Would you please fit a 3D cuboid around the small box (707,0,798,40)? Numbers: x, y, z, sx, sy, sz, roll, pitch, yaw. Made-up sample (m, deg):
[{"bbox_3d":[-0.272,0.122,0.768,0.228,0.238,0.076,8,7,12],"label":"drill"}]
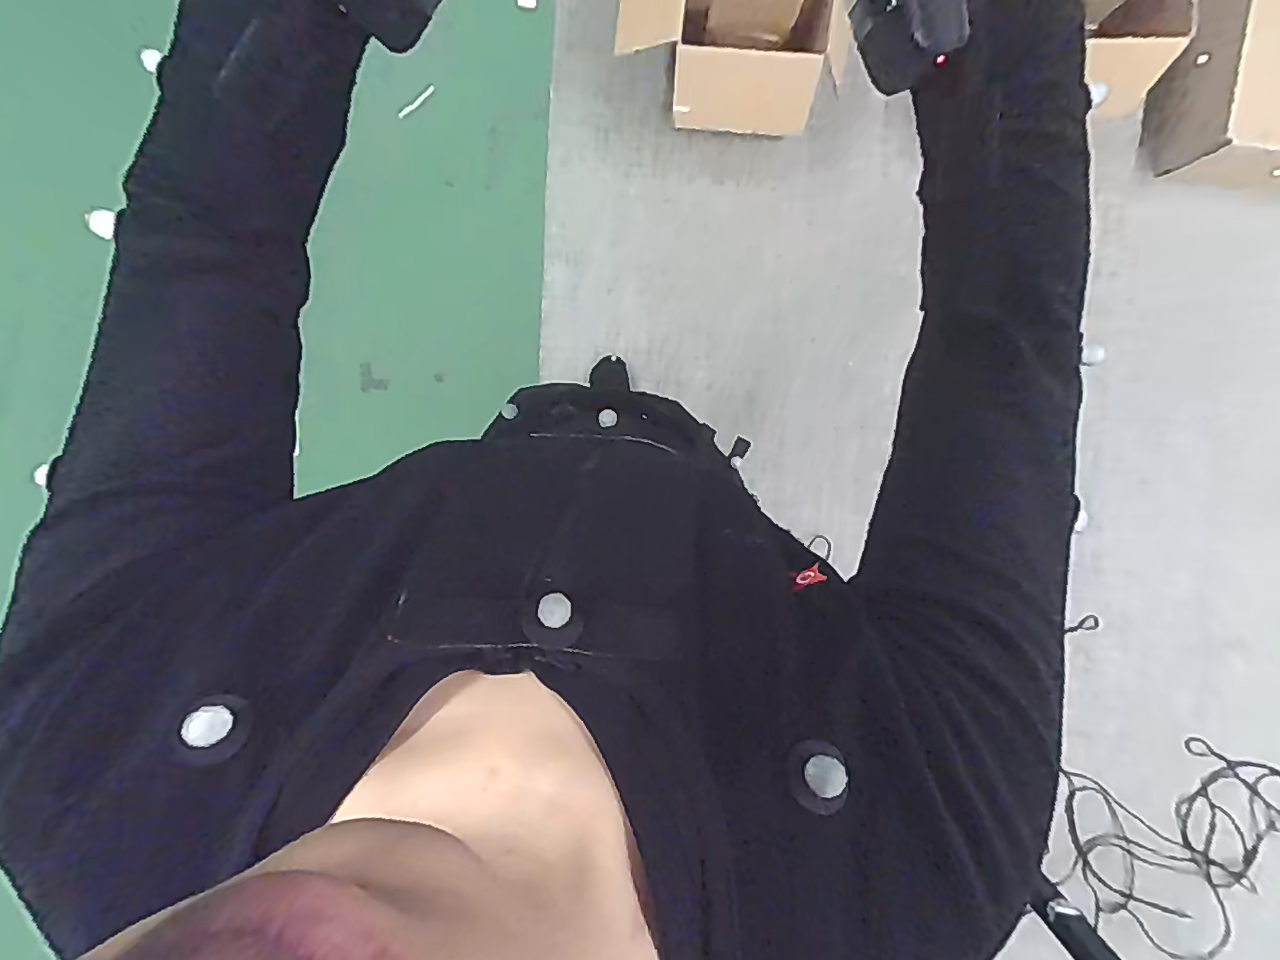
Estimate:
[{"bbox_3d":[0.246,-1.059,1.116,0.179,0.176,0.168,7,94,-2],"label":"small box"}]
